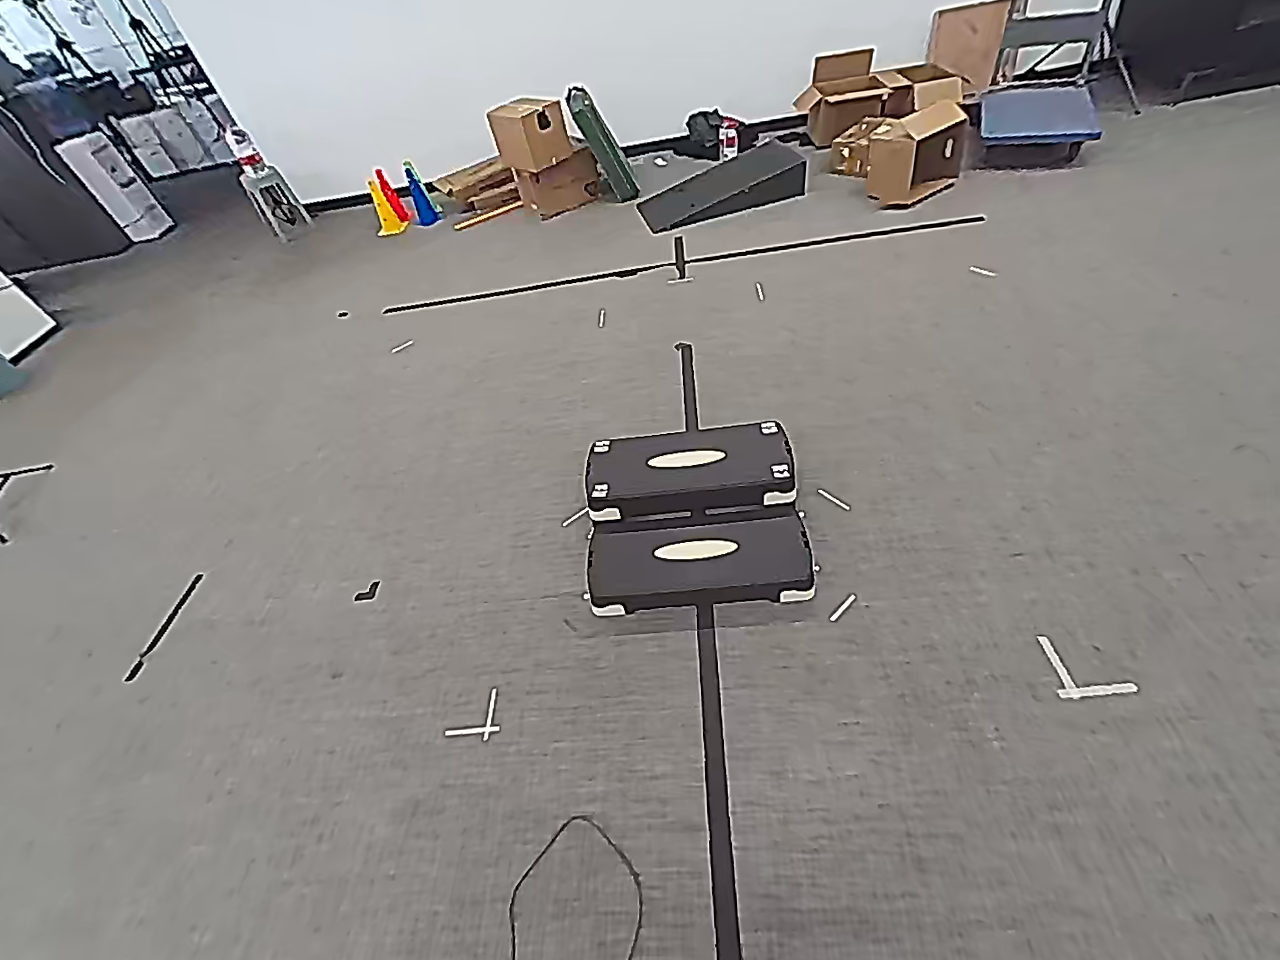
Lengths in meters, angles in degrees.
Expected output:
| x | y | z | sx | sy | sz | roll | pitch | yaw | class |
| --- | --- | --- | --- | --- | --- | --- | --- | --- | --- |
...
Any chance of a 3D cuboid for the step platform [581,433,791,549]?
| x | y | z | sx | sy | sz | roll | pitch | yaw | class |
| --- | --- | --- | --- | --- | --- | --- | --- | --- | --- |
| 0.147 | 0.031 | 1.798 | 0.684 | 0.204 | 0.286 | -6 | 48 | 5 | step platform |
